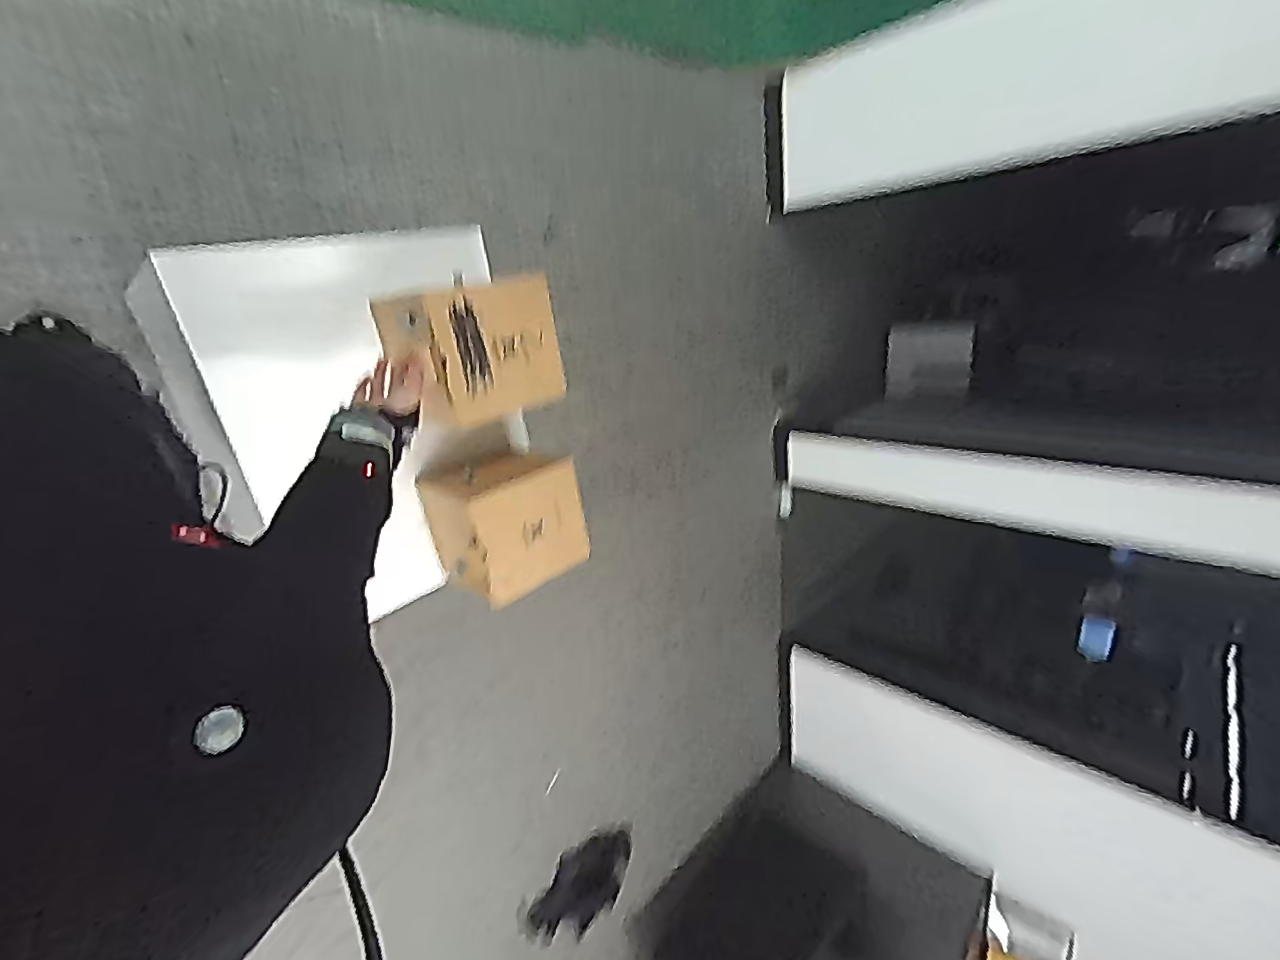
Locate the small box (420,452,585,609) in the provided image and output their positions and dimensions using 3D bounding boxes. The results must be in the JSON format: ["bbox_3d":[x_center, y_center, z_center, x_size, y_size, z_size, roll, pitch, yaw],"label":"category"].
[{"bbox_3d":[-0.213,0.065,0.827,0.179,0.176,0.168,-27,119,-40],"label":"small box"}]
